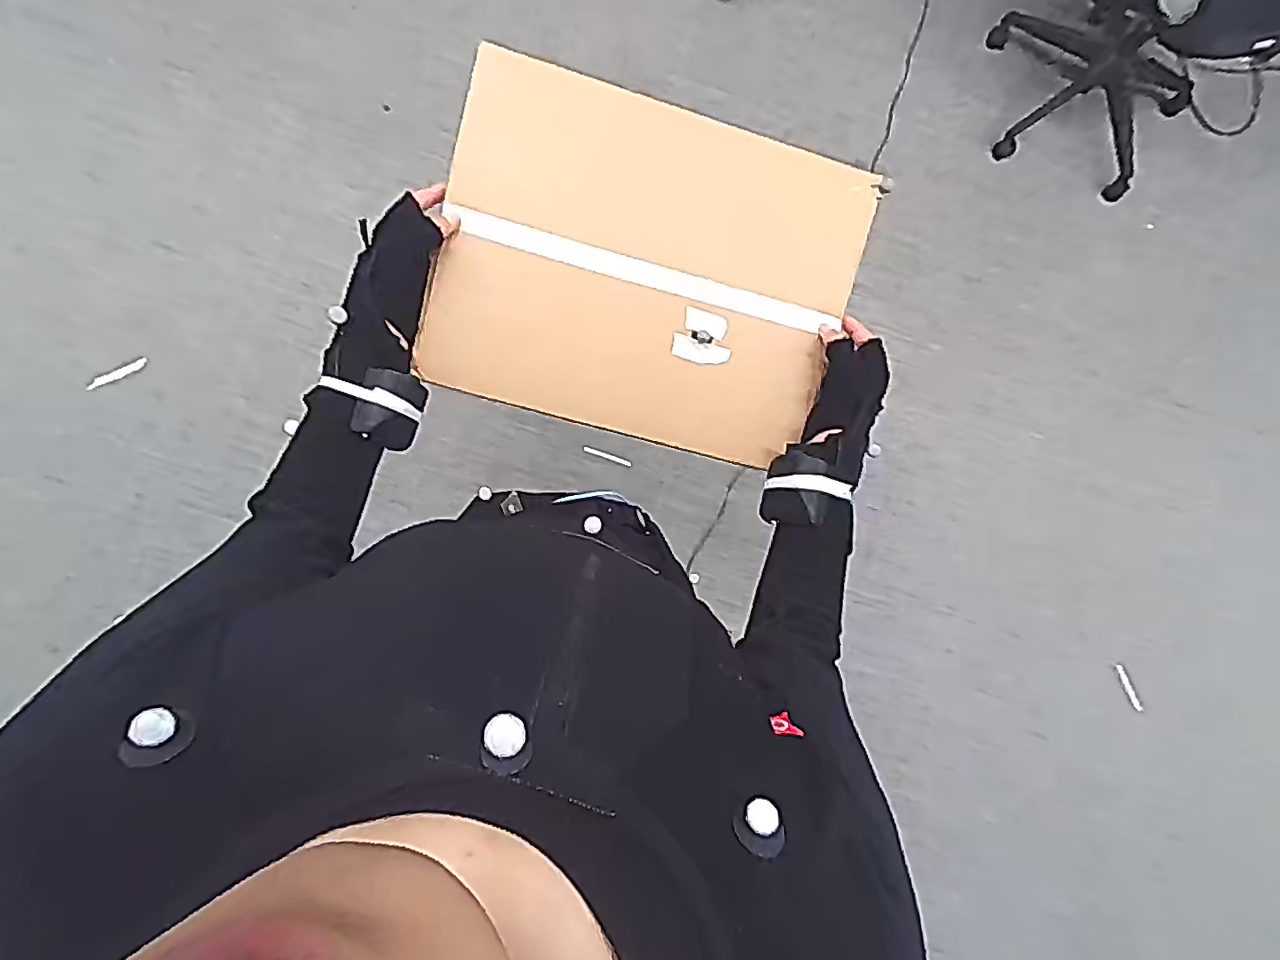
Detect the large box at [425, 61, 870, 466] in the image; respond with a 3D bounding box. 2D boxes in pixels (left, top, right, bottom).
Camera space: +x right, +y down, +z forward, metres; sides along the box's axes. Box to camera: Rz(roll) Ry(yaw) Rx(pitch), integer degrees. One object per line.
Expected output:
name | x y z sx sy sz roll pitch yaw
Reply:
large box | -0.005 -0.224 0.694 0.408 0.320 0.320 14 97 -7
